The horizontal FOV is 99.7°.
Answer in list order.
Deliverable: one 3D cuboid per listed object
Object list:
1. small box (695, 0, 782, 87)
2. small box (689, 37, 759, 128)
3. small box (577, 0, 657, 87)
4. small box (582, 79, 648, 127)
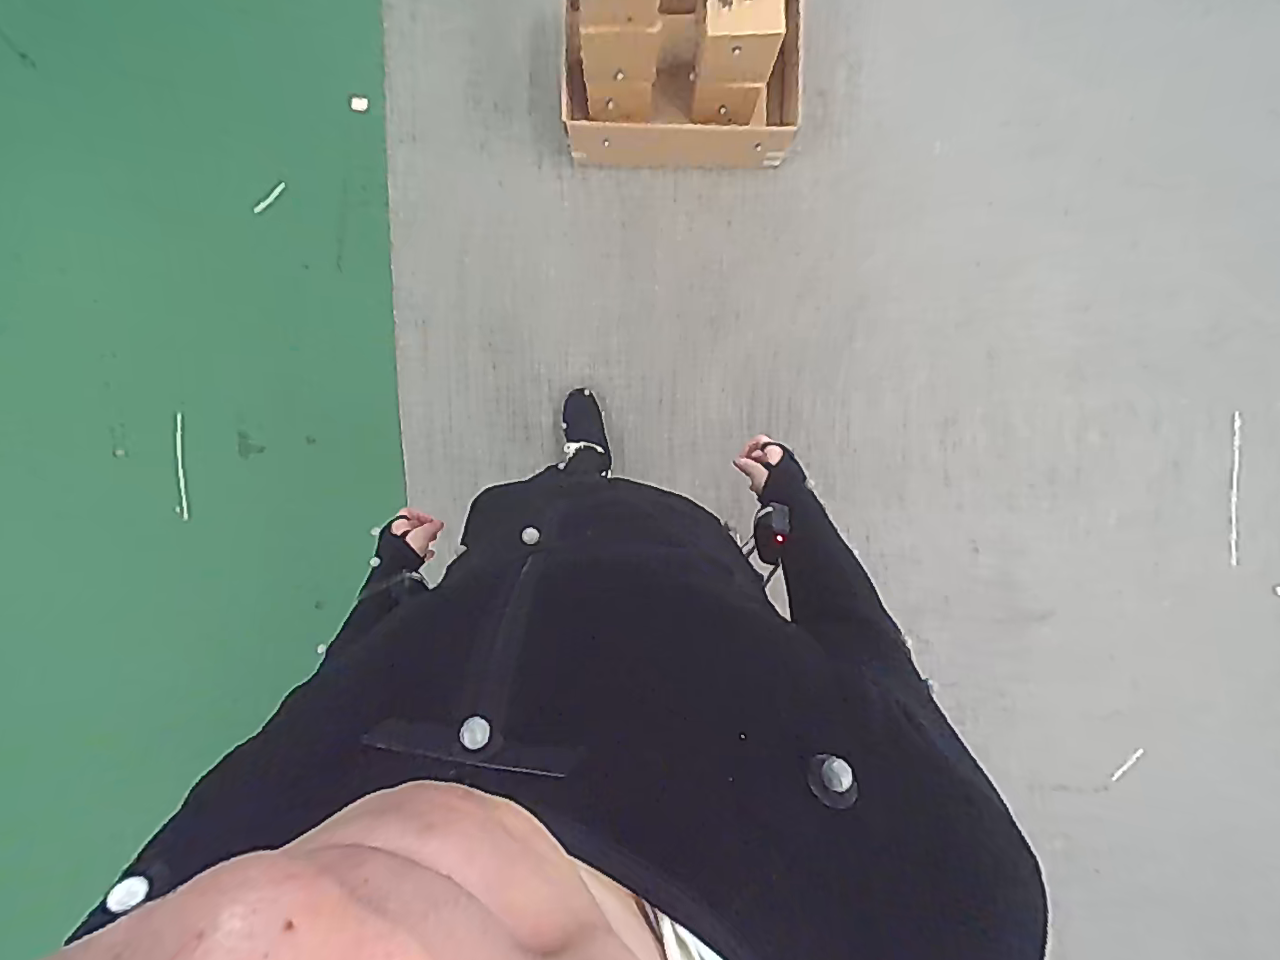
[{"bbox_3d":[0.222,-1.054,1.260,0.179,0.176,0.168,-3,94,-1],"label":"small box"},{"bbox_3d":[0.220,-1.063,1.426,0.168,0.176,0.179,1,93,0],"label":"small box"},{"bbox_3d":[-0.054,-1.052,1.256,0.179,0.176,0.168,-1,92,-2],"label":"small box"},{"bbox_3d":[-0.061,-1.063,1.420,0.168,0.176,0.179,0,92,-2],"label":"small box"}]
